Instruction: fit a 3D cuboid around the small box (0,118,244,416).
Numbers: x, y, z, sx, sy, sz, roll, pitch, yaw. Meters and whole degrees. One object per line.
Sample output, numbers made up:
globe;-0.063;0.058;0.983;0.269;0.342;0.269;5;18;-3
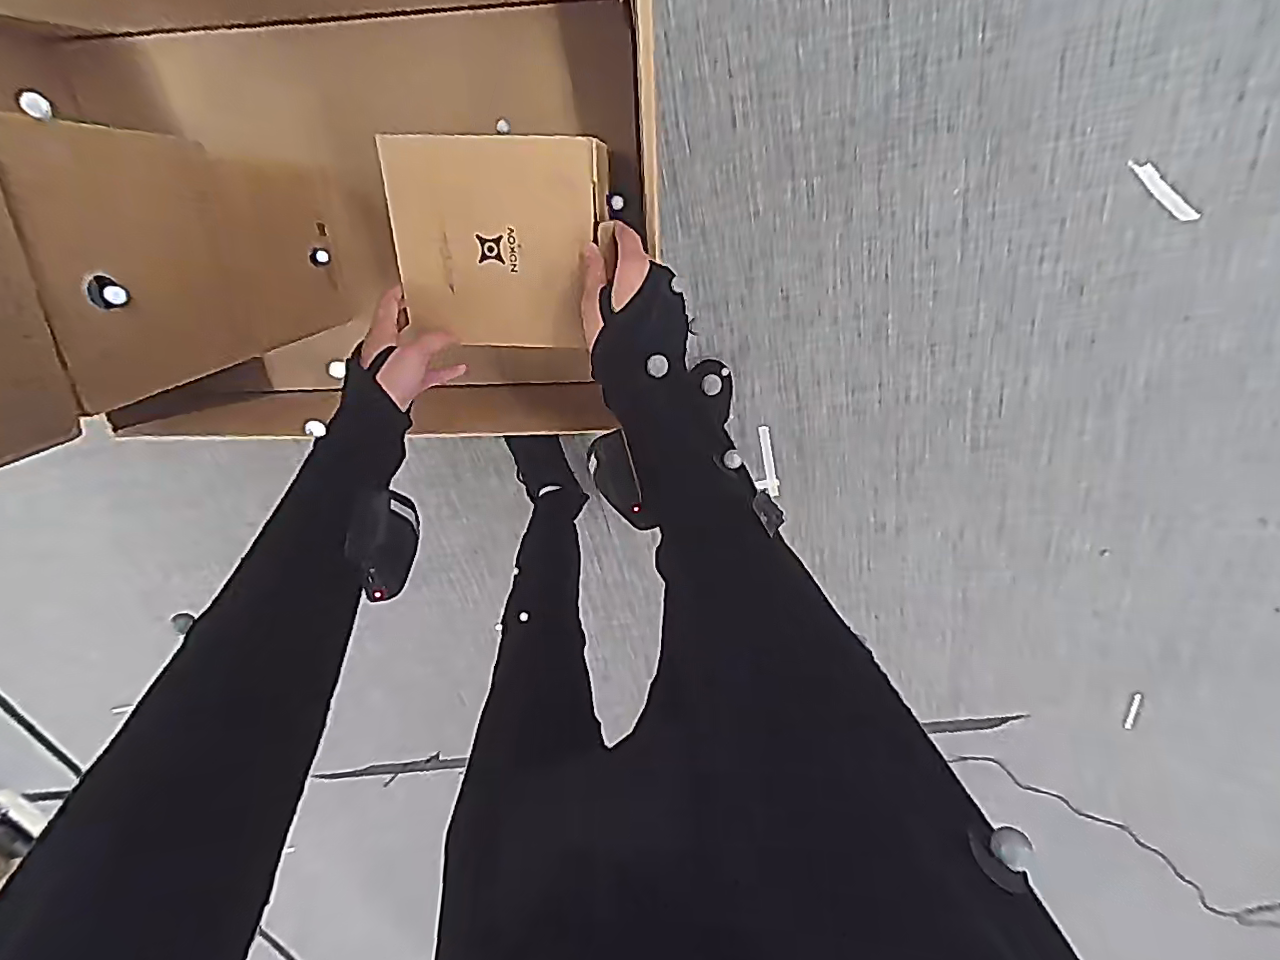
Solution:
small box;-0.441;-0.164;0.400;0.168;0.176;0.179;6;117;1

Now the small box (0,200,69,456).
small box;-0.448;-0.083;0.257;0.168;0.176;0.179;9;118;-2
